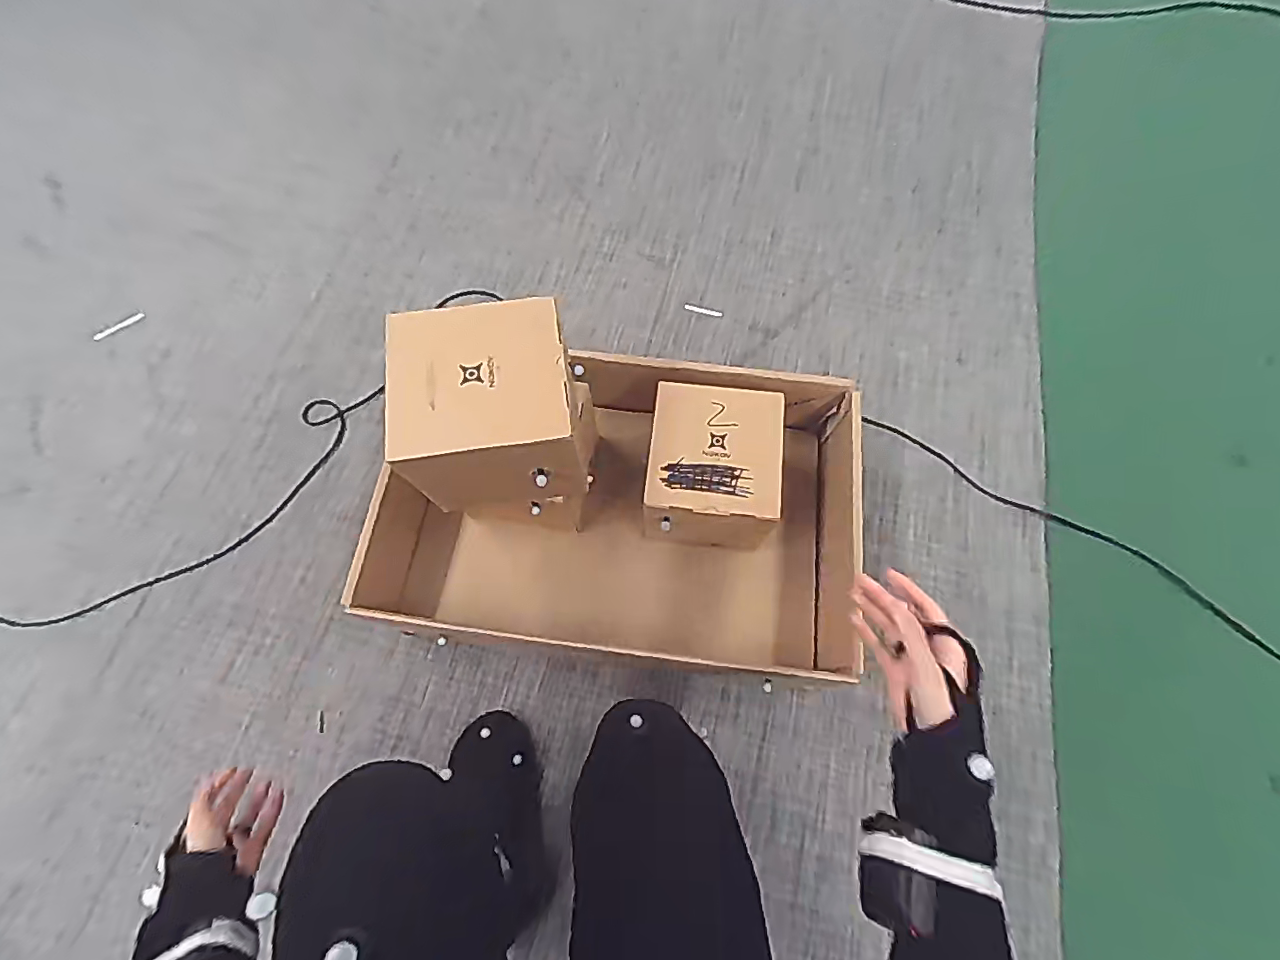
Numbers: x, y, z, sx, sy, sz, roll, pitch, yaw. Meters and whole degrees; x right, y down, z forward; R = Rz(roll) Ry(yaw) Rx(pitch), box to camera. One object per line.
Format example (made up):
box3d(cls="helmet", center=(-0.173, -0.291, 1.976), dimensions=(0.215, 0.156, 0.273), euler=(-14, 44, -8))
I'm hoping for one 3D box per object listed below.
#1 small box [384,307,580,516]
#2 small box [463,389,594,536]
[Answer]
box3d(cls="small box", center=(-0.162, -0.067, 0.605), dimensions=(0.179, 0.176, 0.168), euler=(-7, 70, -3))
box3d(cls="small box", center=(-0.168, -0.026, 0.764), dimensions=(0.179, 0.176, 0.168), euler=(8, 70, 2))
